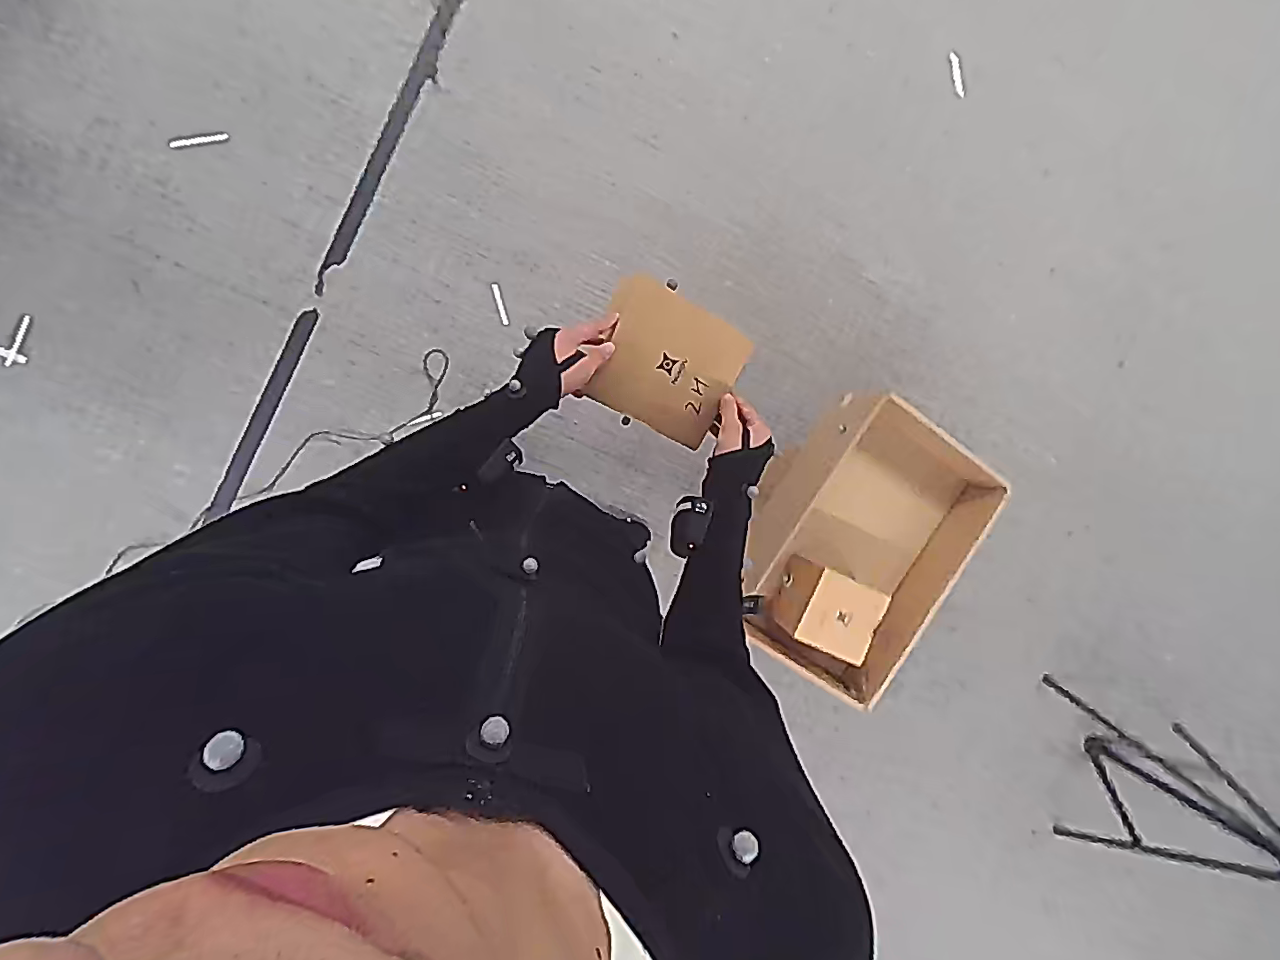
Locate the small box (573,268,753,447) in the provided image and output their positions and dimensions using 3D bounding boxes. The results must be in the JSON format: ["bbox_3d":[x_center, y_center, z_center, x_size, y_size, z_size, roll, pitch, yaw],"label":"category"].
[{"bbox_3d":[0.018,-0.170,0.752,0.179,0.176,0.168,25,102,-18],"label":"small box"}]
